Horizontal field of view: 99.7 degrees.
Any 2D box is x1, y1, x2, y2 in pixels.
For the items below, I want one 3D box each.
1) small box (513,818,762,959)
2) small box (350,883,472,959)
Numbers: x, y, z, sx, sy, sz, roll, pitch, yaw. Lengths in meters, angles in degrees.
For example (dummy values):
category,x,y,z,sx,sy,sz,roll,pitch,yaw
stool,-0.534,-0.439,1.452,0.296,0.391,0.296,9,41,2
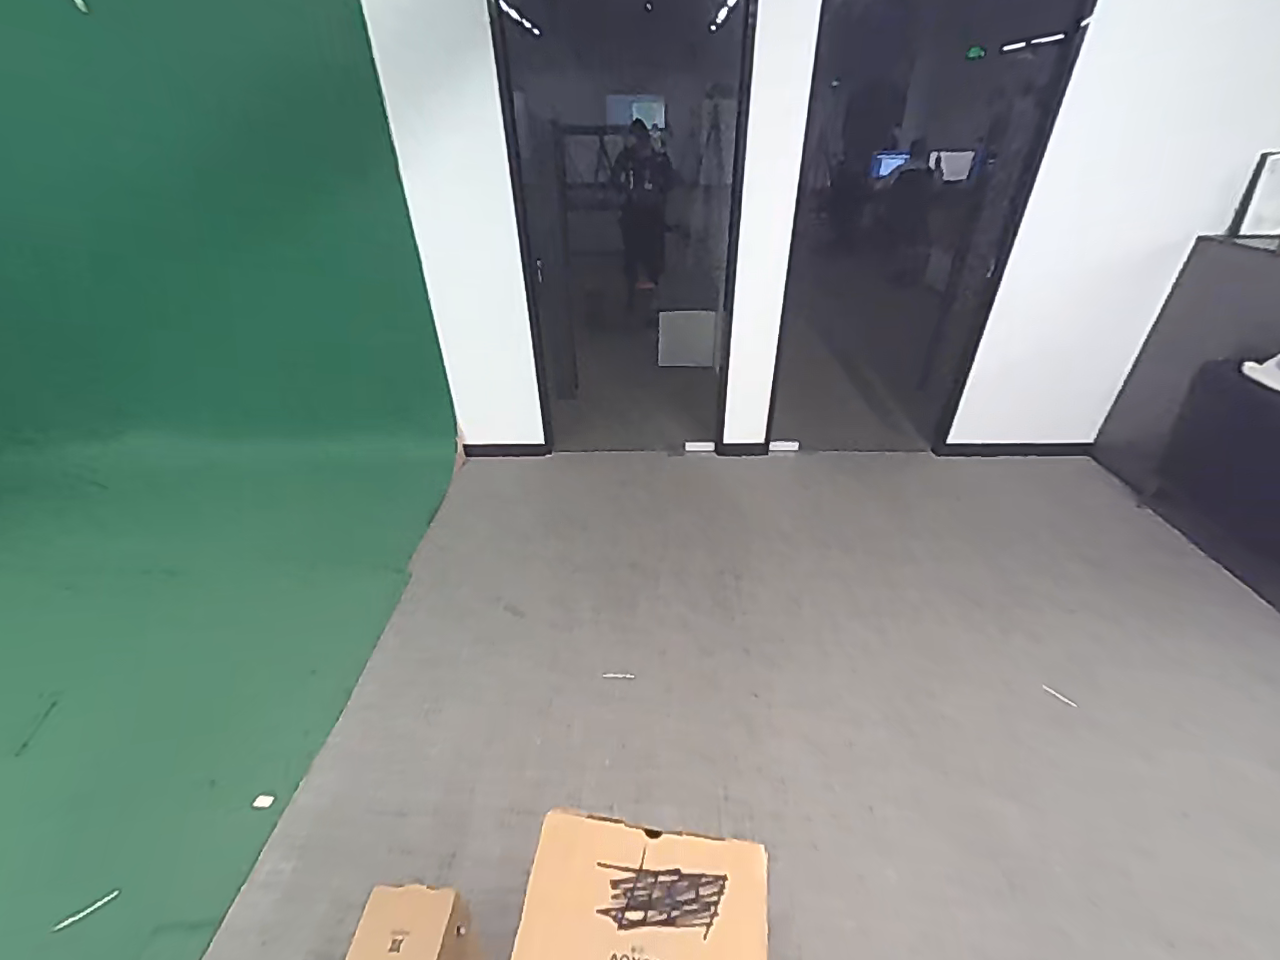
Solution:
category,x,y,z,sx,sy,sz,roll,pitch,yaw
small box,-0.004,0.385,0.405,0.168,0.176,0.179,6,47,8
small box,-0.431,0.903,1.025,0.168,0.176,0.179,0,35,4
